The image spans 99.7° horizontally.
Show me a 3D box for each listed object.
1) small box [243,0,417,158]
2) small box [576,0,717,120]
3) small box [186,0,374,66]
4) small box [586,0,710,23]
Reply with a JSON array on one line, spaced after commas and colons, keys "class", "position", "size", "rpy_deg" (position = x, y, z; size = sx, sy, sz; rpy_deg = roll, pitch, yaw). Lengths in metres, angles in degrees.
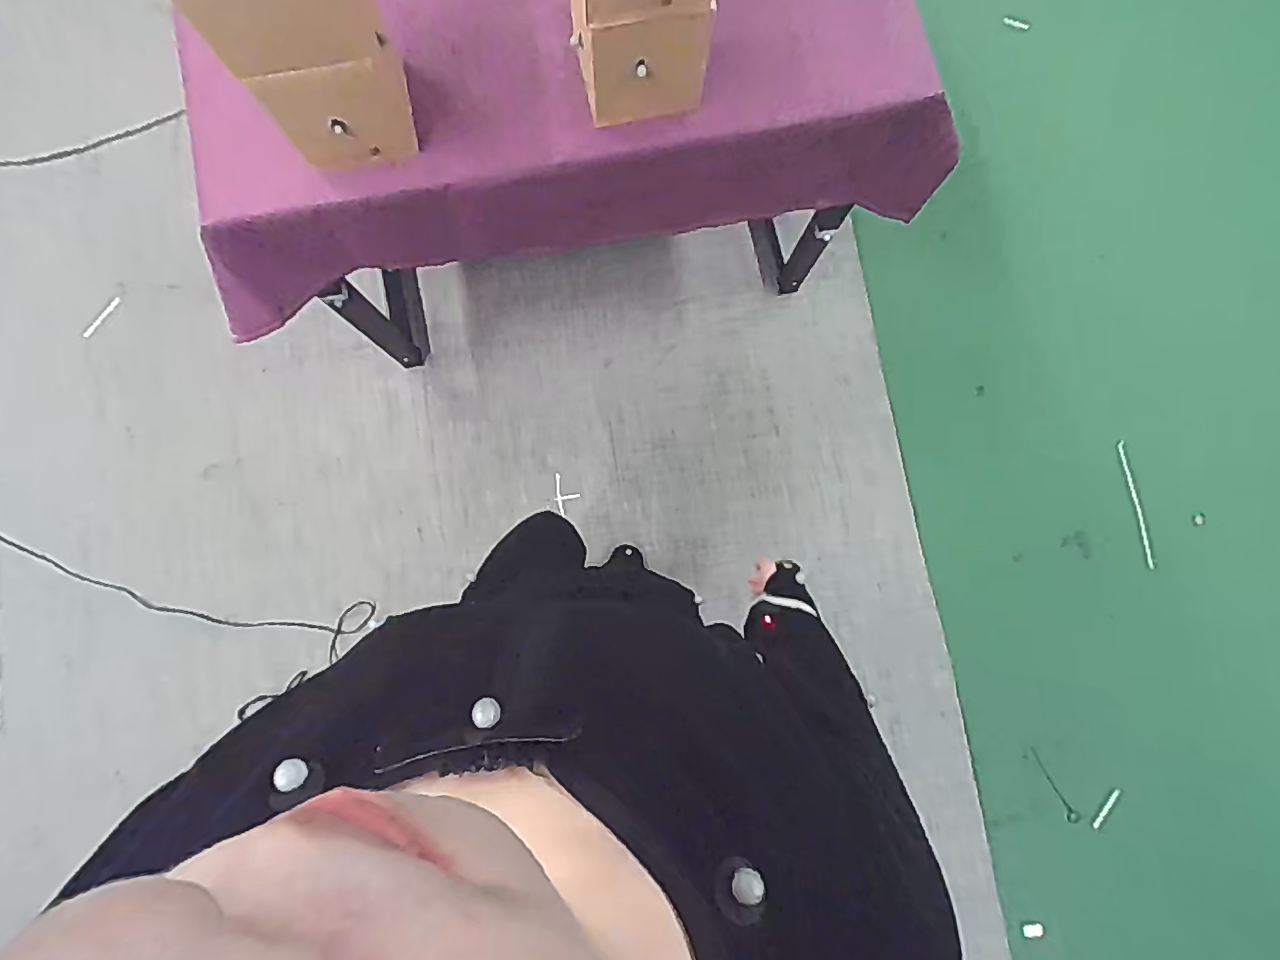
[{"class": "small box", "position": [-0.438, -0.595, 0.775], "size": [0.168, 0.176, 0.179], "rpy_deg": [-11, 83, -4]}, {"class": "small box", "position": [0.002, -0.674, 0.800], "size": [0.179, 0.176, 0.168], "rpy_deg": [-12, 84, -3]}, {"class": "small box", "position": [-0.434, -0.614, 0.612], "size": [0.179, 0.176, 0.168], "rpy_deg": [-12, 84, -4]}, {"class": "small box", "position": [0.002, -0.700, 0.639], "size": [0.168, 0.176, 0.179], "rpy_deg": [-11, 84, -3]}]
